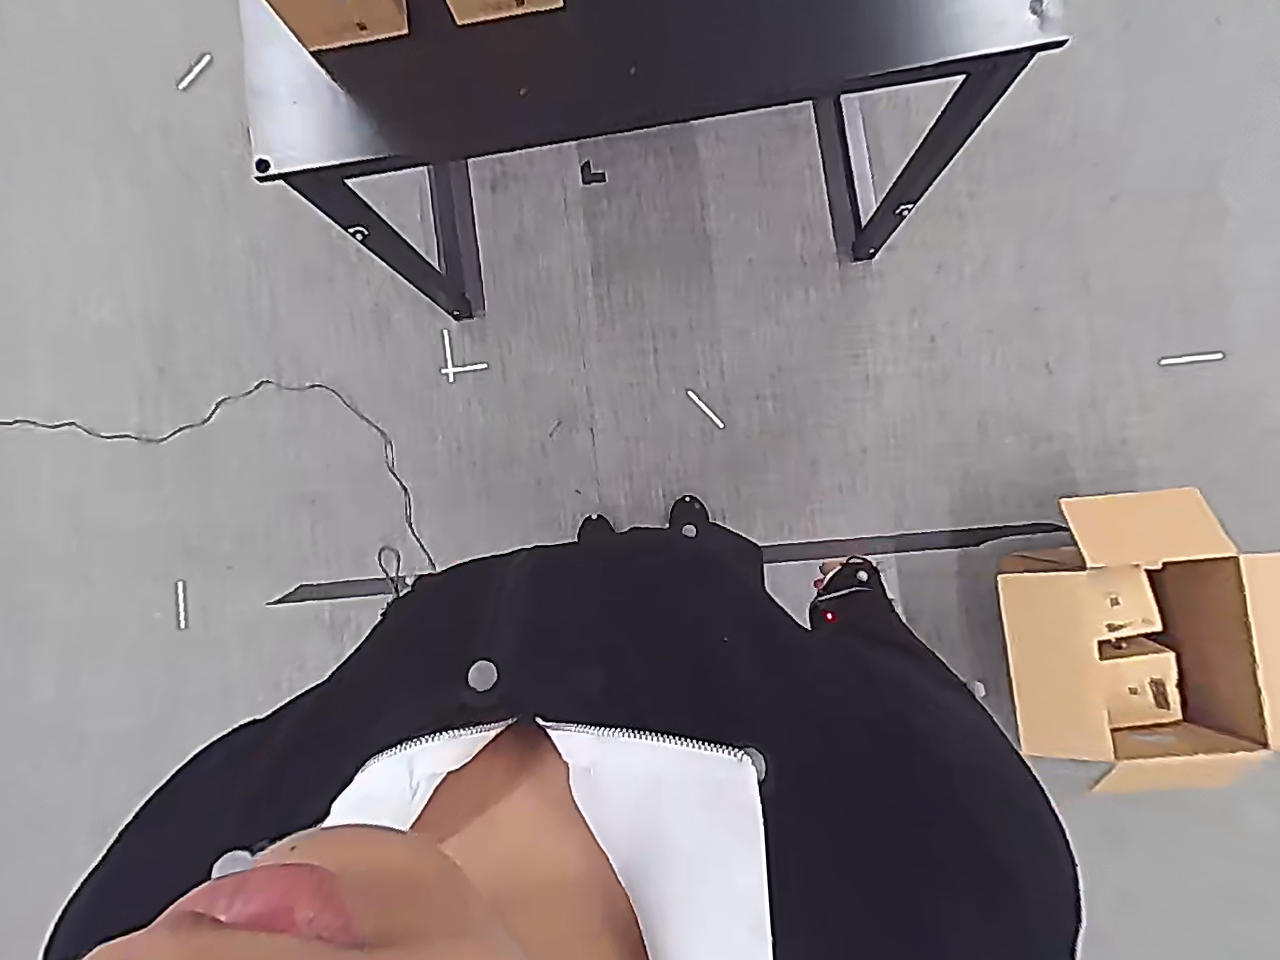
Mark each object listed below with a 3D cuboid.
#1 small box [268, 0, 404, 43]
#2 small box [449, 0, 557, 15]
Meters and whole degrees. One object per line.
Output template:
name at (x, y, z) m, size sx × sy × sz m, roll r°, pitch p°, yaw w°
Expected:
small box at (-0.449, -0.758, 0.754) m, size 0.168 × 0.176 × 0.179 m, roll -8°, pitch 86°, yaw 2°
small box at (-0.211, -0.784, 0.737) m, size 0.168 × 0.176 × 0.179 m, roll -6°, pitch 87°, yaw 3°
